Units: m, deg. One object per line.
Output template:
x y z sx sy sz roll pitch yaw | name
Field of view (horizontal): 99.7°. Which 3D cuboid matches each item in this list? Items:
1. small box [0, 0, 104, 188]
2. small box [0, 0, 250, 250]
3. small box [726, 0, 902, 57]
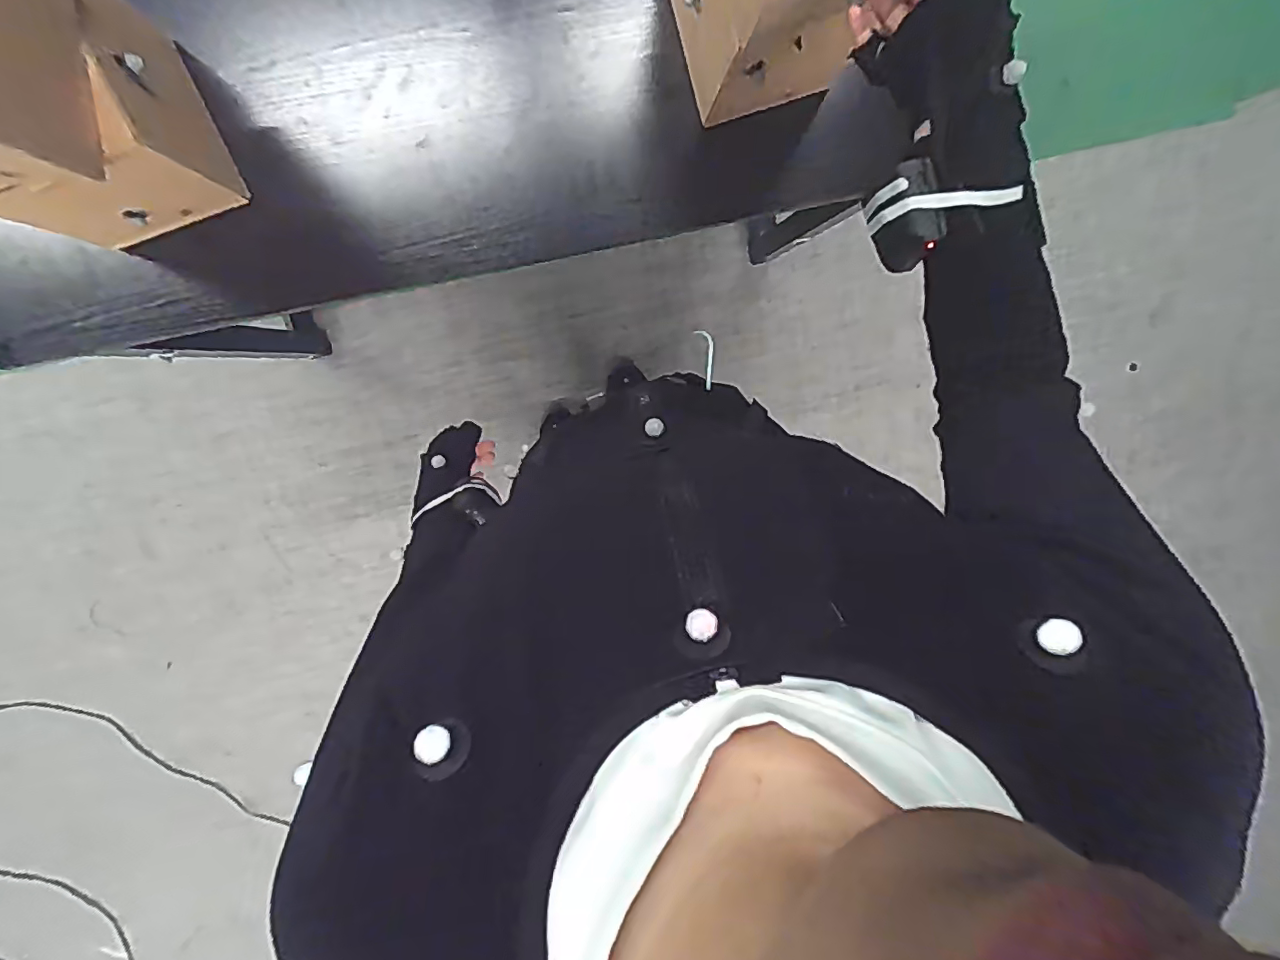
-0.530 -0.319 0.370 0.168 0.176 0.179 0 102 -6 | small box
-0.543 -0.353 0.530 0.168 0.176 0.179 -21 104 -1 | small box
0.148 -0.475 0.402 0.168 0.176 0.179 -20 102 0 | small box
